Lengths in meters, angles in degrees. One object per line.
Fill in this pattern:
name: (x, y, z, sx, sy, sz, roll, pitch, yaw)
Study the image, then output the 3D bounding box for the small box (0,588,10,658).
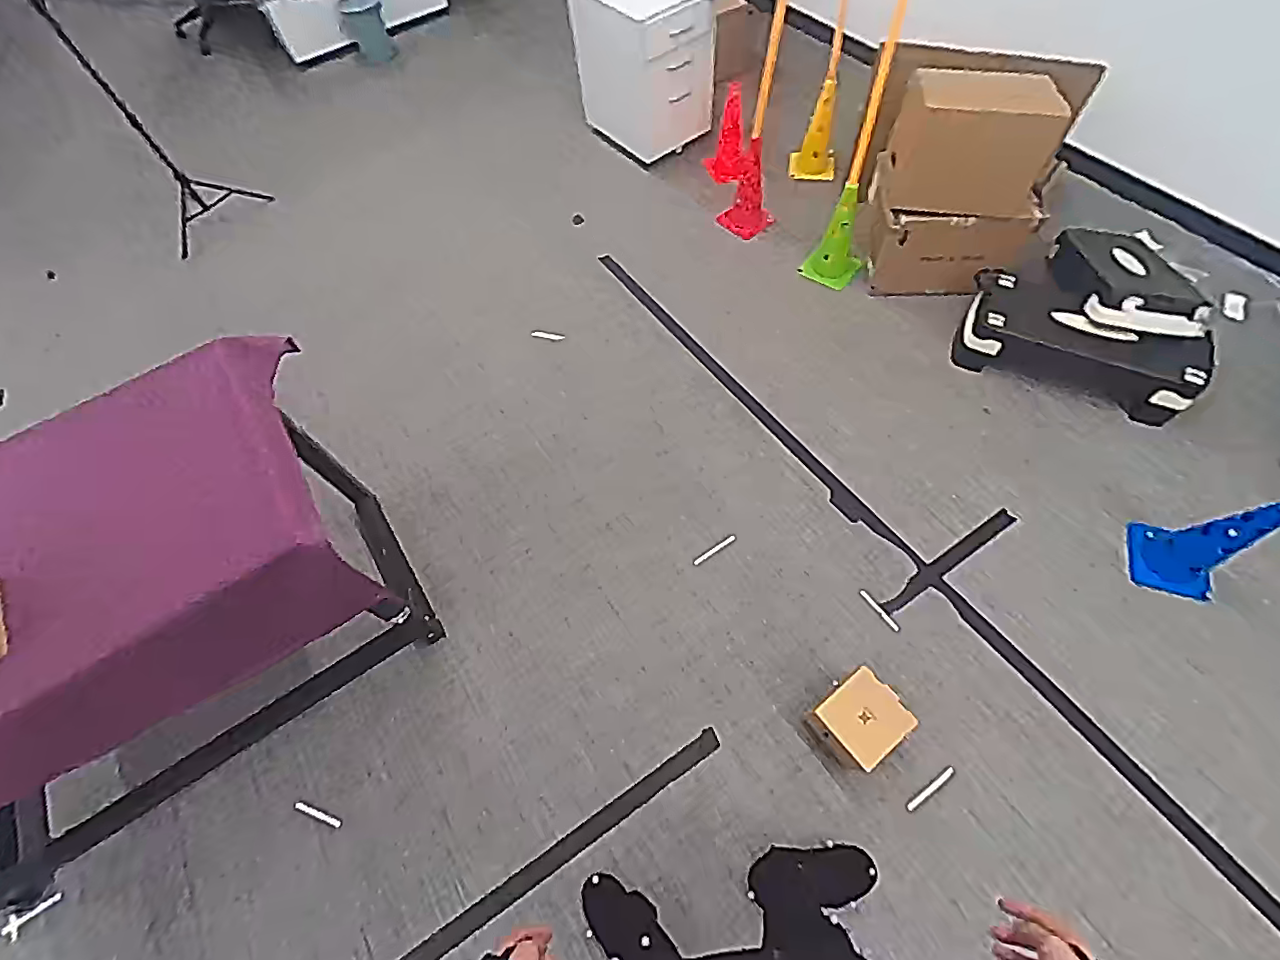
small box: (-1.146, 0.244, 0.823, 0.179, 0.176, 0.168, -36, 65, -15)

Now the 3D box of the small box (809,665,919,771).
small box: (0.538, 0.590, 1.332, 0.179, 0.176, 0.168, -36, 65, -14)
